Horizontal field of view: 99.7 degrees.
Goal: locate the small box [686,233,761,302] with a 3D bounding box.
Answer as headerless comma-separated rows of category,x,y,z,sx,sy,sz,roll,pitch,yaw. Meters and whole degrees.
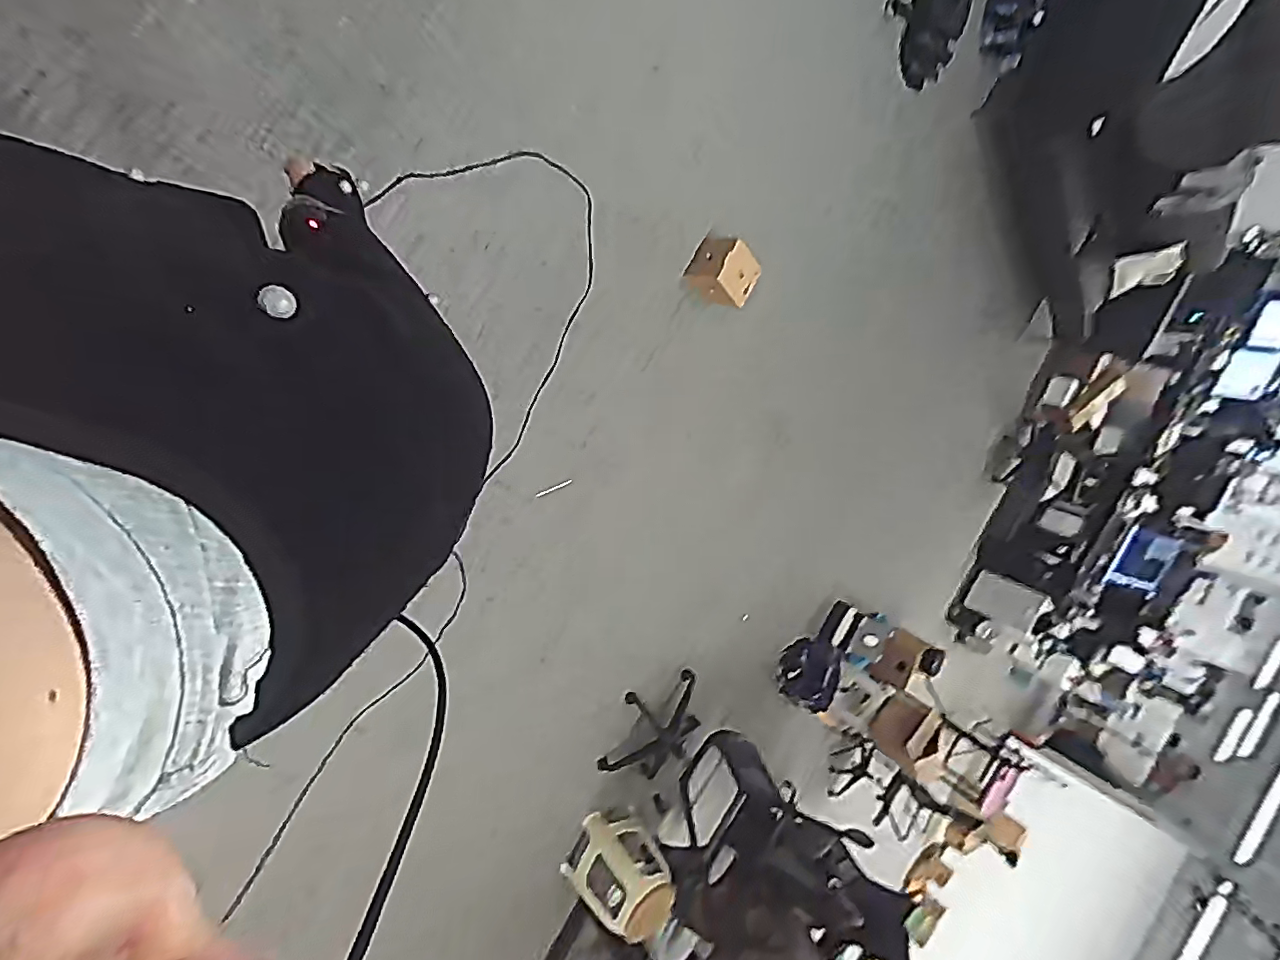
small box,0.297,-0.765,1.955,0.179,0.176,0.168,31,87,-43
